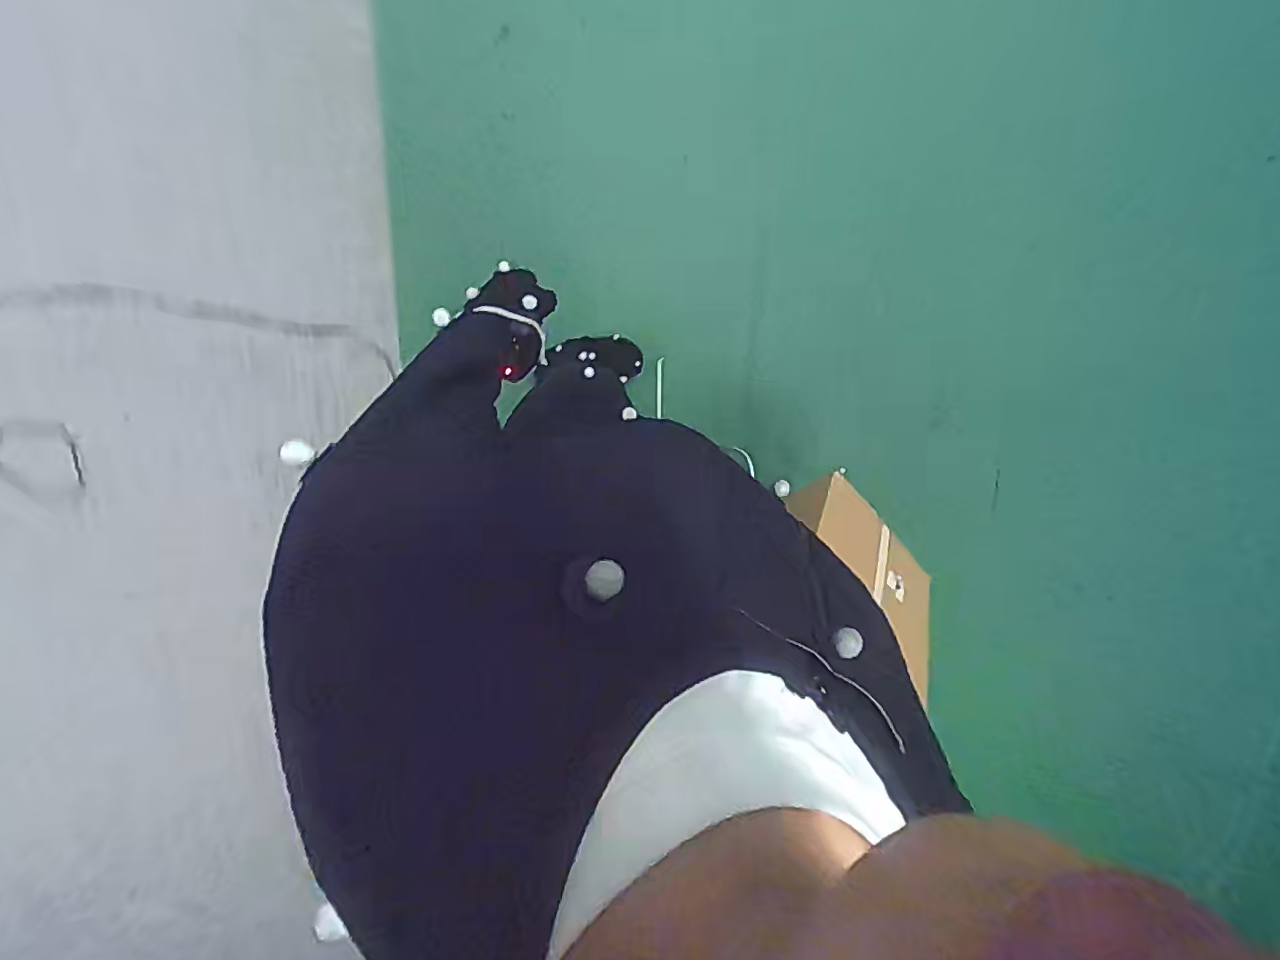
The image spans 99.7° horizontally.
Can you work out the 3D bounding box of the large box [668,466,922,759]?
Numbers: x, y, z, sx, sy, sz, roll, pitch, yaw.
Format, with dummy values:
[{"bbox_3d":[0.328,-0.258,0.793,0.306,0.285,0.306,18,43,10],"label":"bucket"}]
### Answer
[{"bbox_3d":[0.313,0.253,1.051,0.320,0.408,0.320,47,131,-8],"label":"large box"}]
